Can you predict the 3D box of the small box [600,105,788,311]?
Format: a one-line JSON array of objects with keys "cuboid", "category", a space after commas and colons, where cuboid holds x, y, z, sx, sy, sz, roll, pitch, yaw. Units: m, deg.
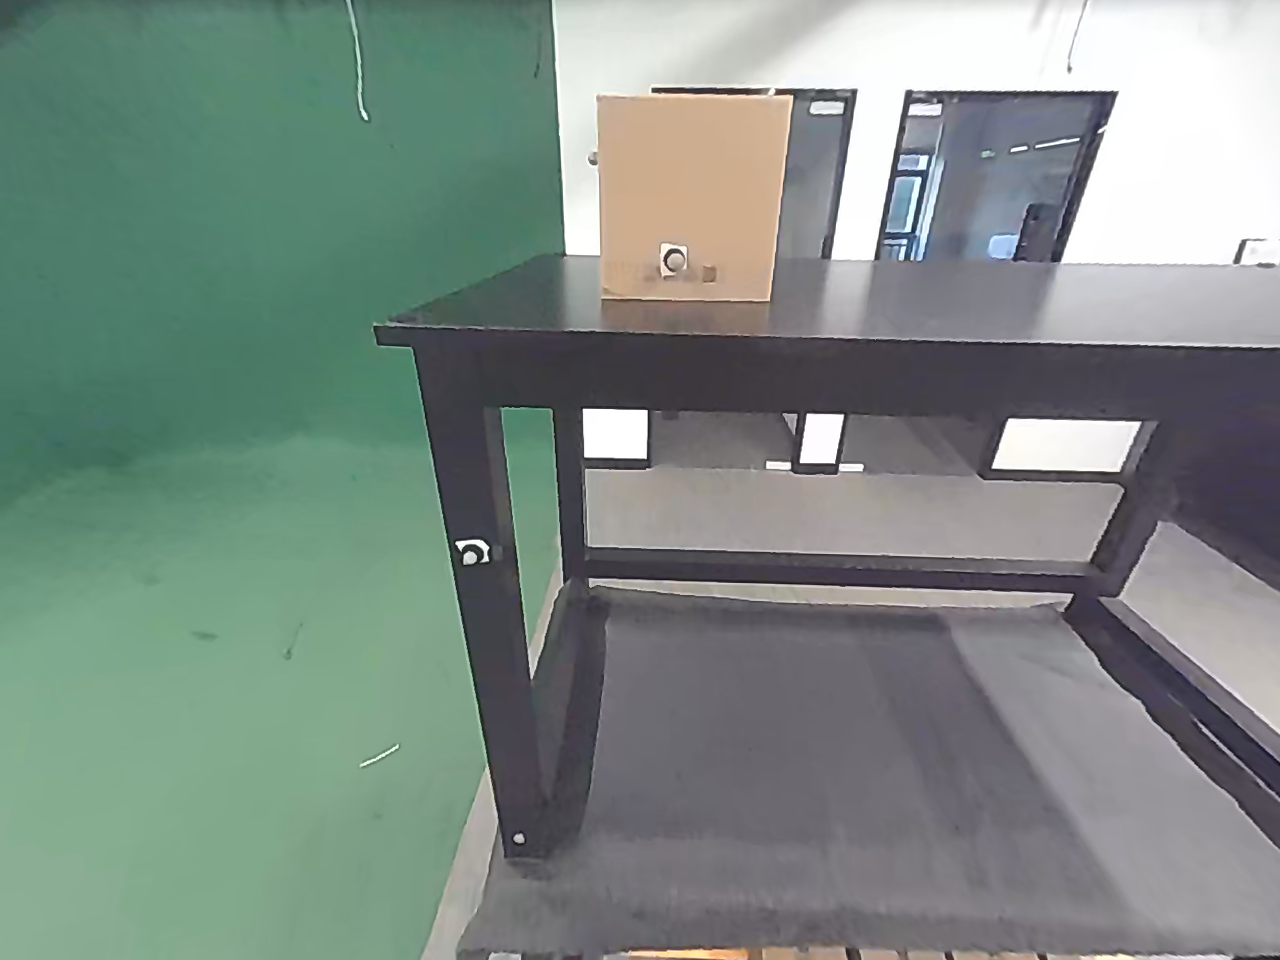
[{"cuboid": [0.044, -0.281, 0.572, 0.168, 0.176, 0.179, -1, 28, -1], "category": "small box"}]
